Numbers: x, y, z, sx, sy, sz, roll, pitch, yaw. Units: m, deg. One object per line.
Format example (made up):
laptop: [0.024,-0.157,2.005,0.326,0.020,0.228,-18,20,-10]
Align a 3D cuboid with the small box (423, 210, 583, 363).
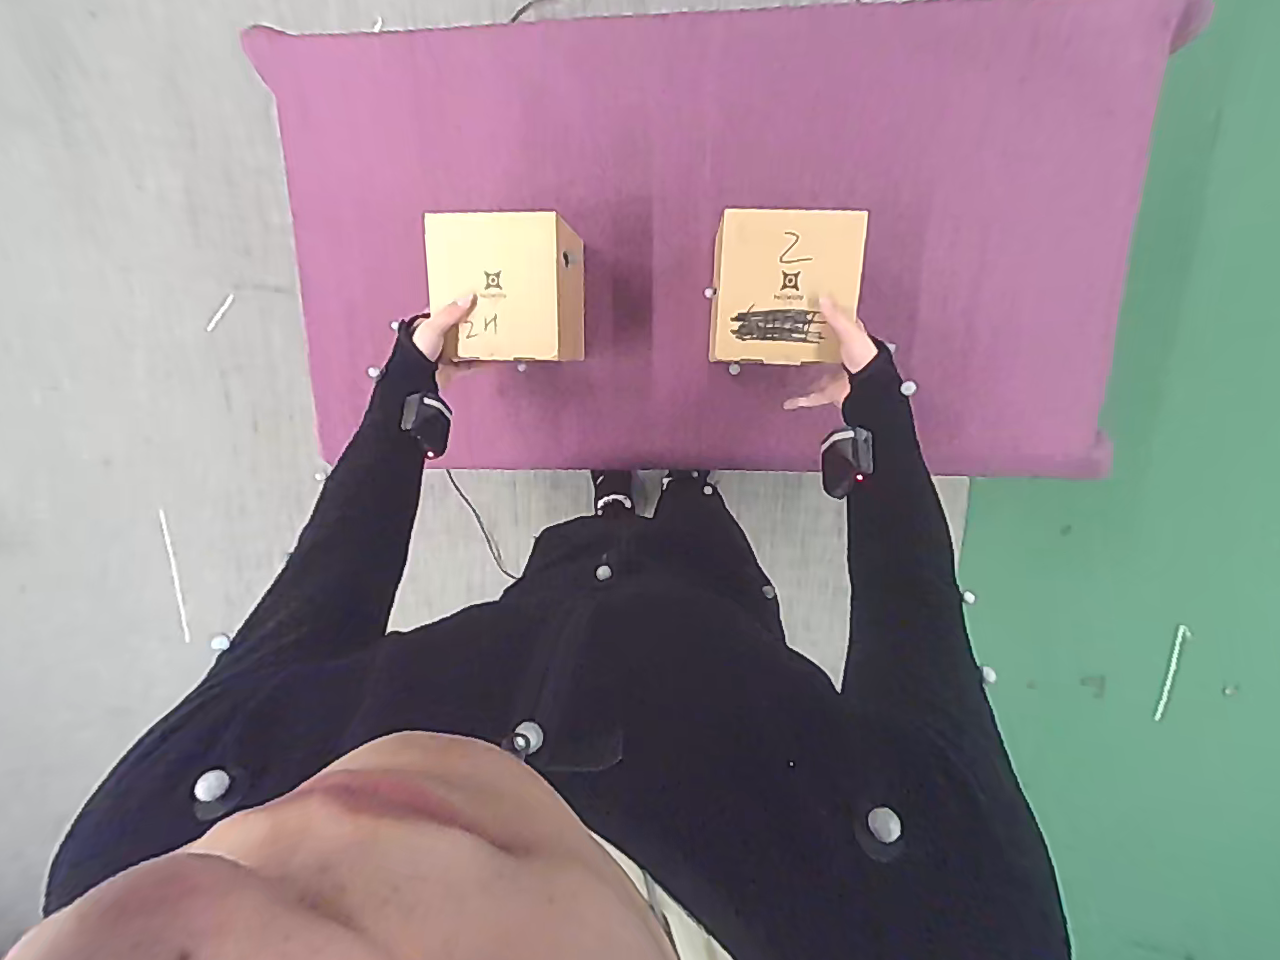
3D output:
small box: [-0.175,-0.251,0.736,0.168,0.176,0.179,2,103,5]
